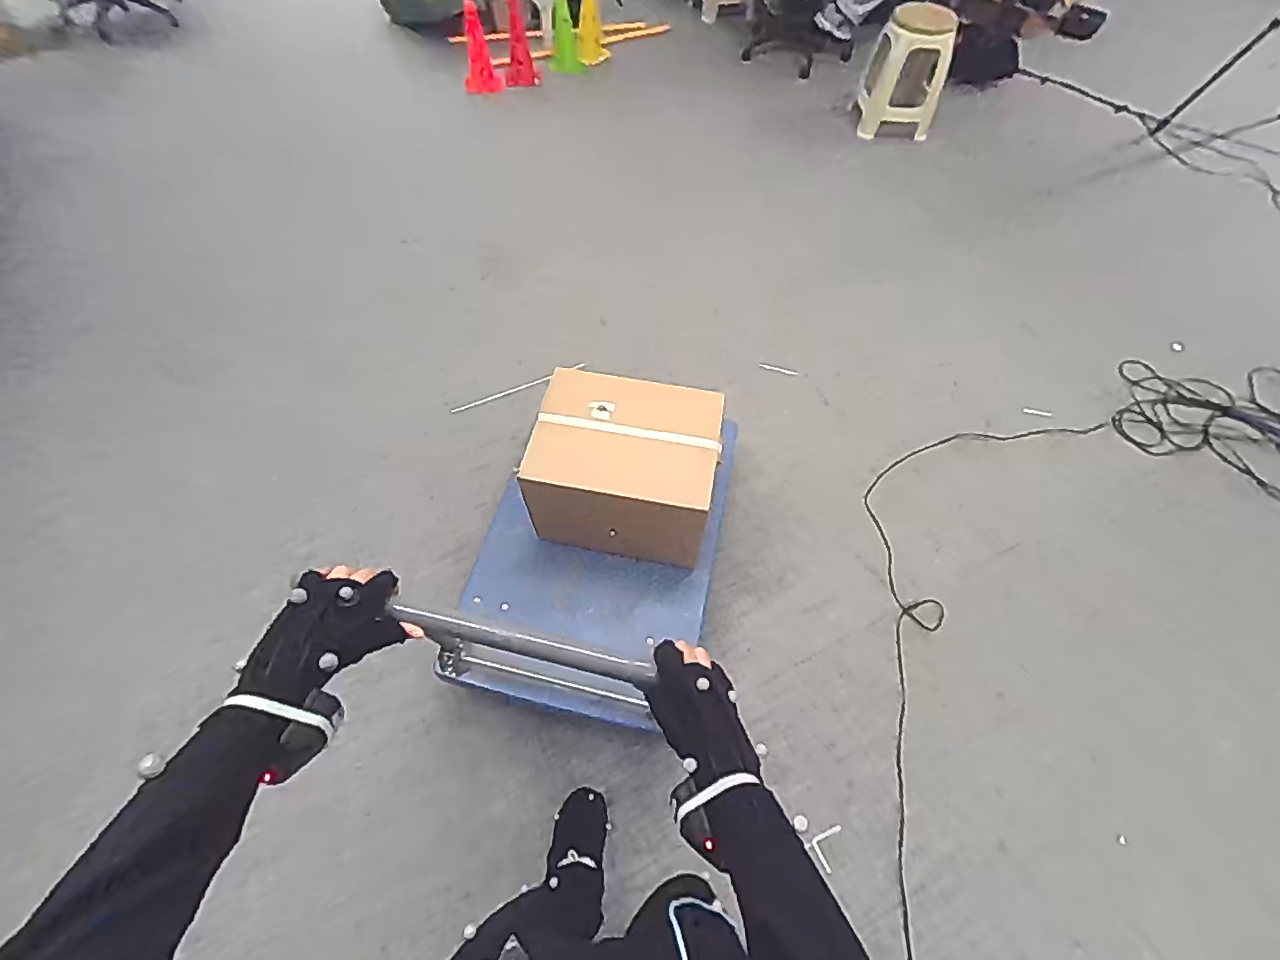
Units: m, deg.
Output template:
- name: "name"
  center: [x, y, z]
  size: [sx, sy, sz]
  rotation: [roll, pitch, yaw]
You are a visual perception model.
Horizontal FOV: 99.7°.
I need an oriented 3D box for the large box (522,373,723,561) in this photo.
- name: "large box"
  center: [-0.025, -0.022, 1.311]
  size: [0.408, 0.320, 0.320]
  rotation: [8, 59, 5]
